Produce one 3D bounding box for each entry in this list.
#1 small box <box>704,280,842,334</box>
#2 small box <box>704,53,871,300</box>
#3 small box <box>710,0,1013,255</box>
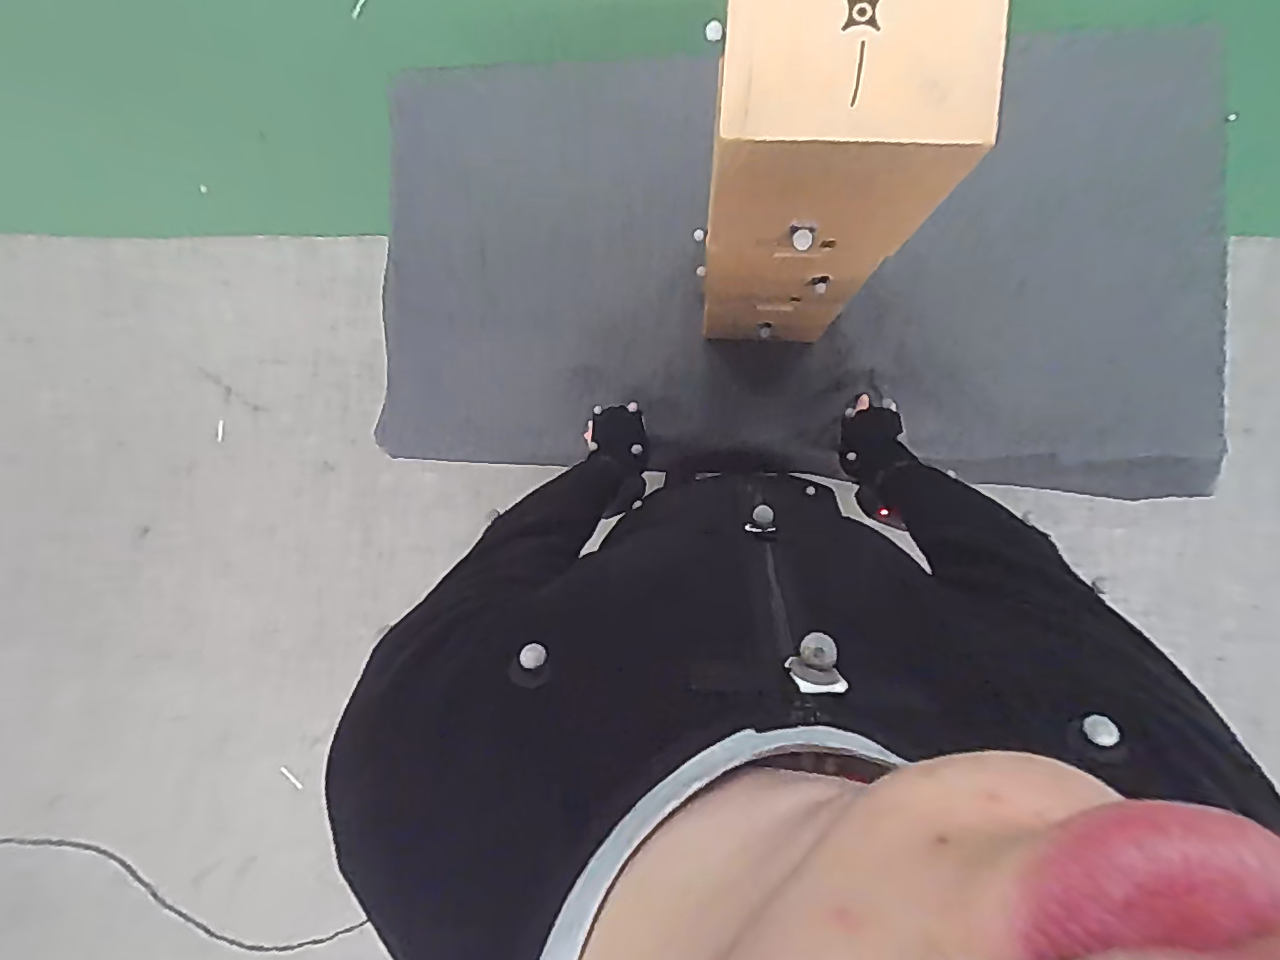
[{"bbox_3d":[0.175,-0.302,0.726,0.168,0.176,0.179,4,92,6],"label":"small box"},{"bbox_3d":[0.155,-0.298,0.565,0.168,0.176,0.179,3,90,5],"label":"small box"},{"bbox_3d":[0.142,-0.291,0.401,0.168,0.176,0.179,5,93,5],"label":"small box"}]
